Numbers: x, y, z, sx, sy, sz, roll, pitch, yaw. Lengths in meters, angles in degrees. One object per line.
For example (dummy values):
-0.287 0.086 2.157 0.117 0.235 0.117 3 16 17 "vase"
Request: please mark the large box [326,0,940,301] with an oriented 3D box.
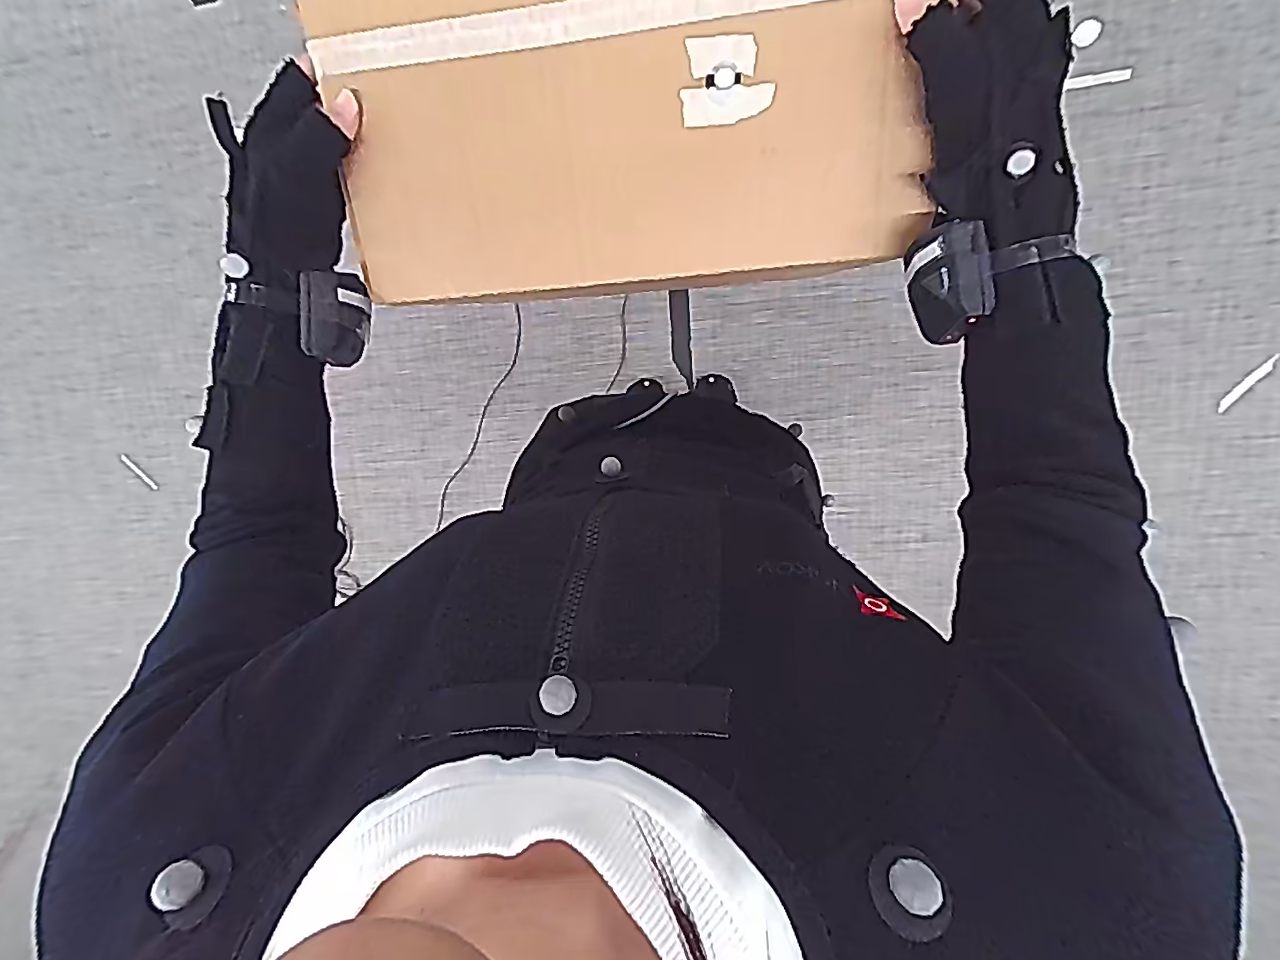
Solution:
-0.001 -0.345 0.493 0.408 0.320 0.320 -4 109 6 "large box"
